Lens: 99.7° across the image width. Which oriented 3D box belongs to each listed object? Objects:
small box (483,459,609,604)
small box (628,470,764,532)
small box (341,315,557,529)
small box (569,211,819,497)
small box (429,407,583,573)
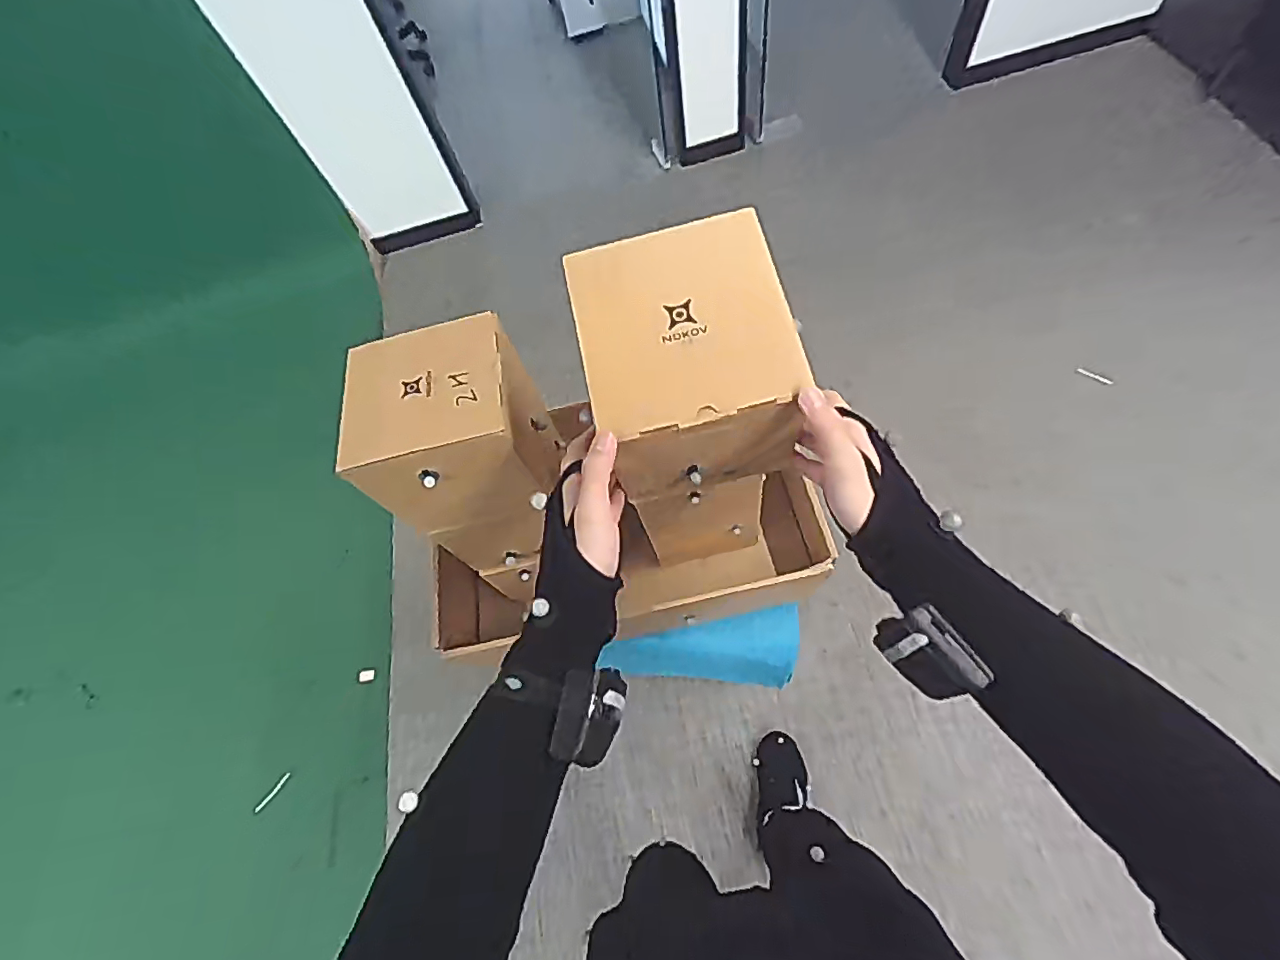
[{"bbox_3d":[-0.158,0.092,0.923,0.168,0.176,0.179,-13,61,4],"label":"small box"},{"bbox_3d":[0.071,-0.044,0.762,0.179,0.176,0.168,-14,61,5],"label":"small box"},{"bbox_3d":[-0.212,-0.058,0.637,0.179,0.176,0.168,-14,62,4],"label":"small box"},{"bbox_3d":[0.043,-0.102,0.500,0.168,0.176,0.179,-14,72,3],"label":"small box"},{"bbox_3d":[-0.187,0.015,0.783,0.168,0.176,0.179,-13,61,3],"label":"small box"}]
